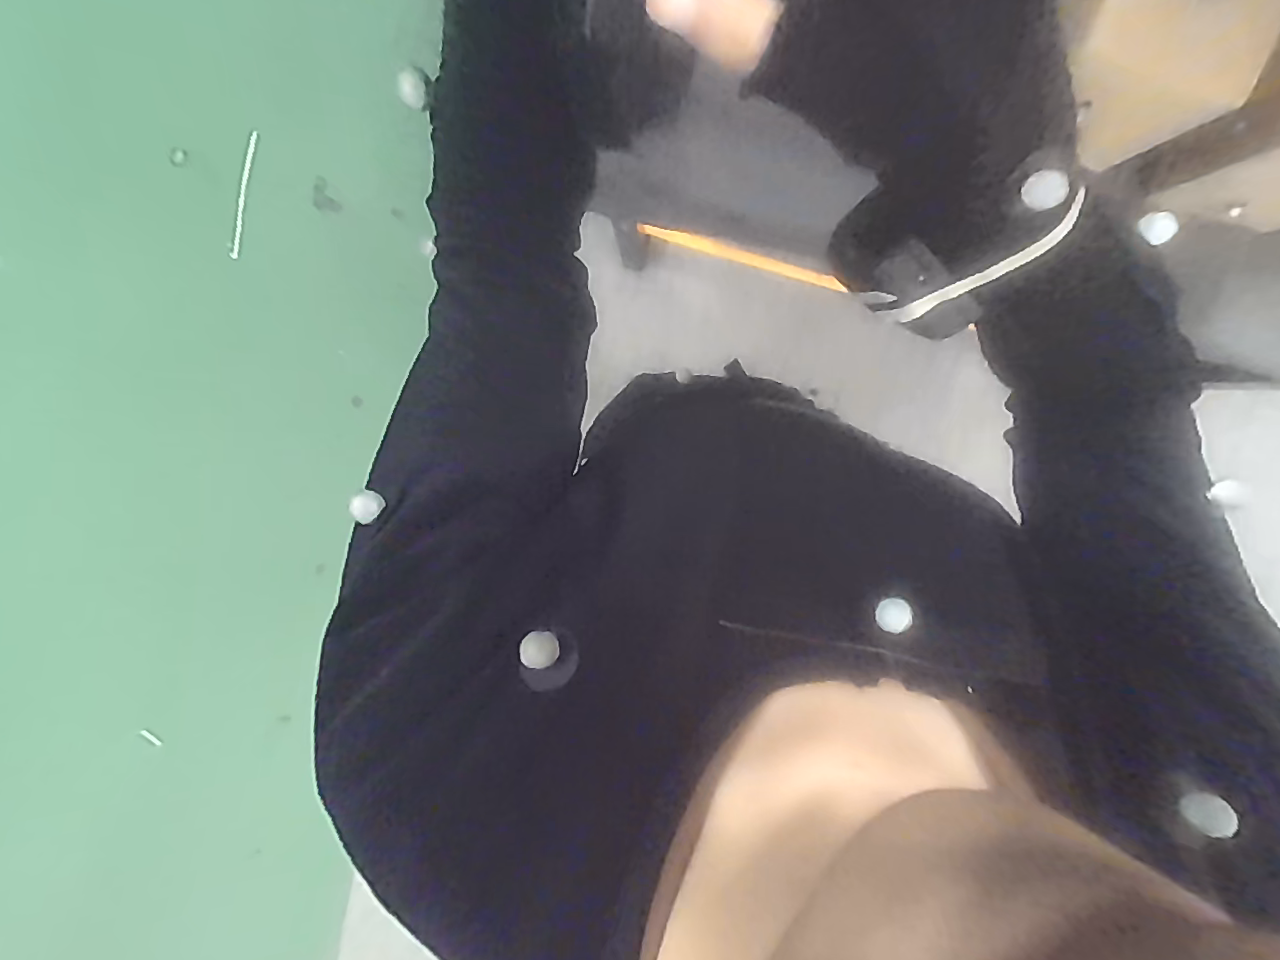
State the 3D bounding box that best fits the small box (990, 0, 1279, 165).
[{"bbox_3d":[0.519,-0.474,0.575,0.168,0.176,0.179,19,100,-2],"label":"small box"}]
